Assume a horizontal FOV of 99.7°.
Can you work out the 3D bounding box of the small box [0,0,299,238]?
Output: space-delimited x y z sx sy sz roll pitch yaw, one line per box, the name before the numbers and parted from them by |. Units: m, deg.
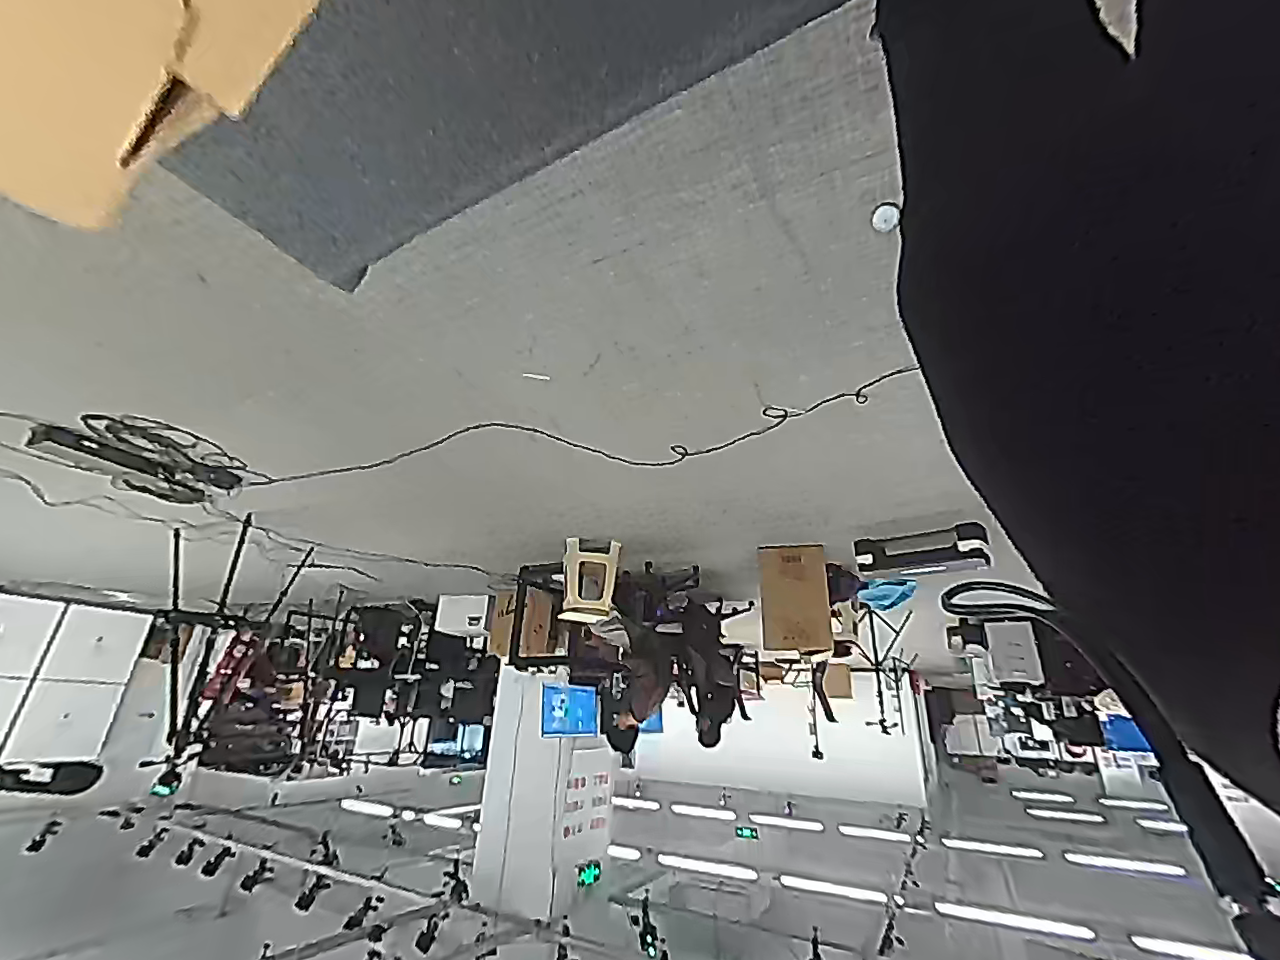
small box | -0.113 -0.182 0.068 0.168 0.176 0.179 -16 148 34
